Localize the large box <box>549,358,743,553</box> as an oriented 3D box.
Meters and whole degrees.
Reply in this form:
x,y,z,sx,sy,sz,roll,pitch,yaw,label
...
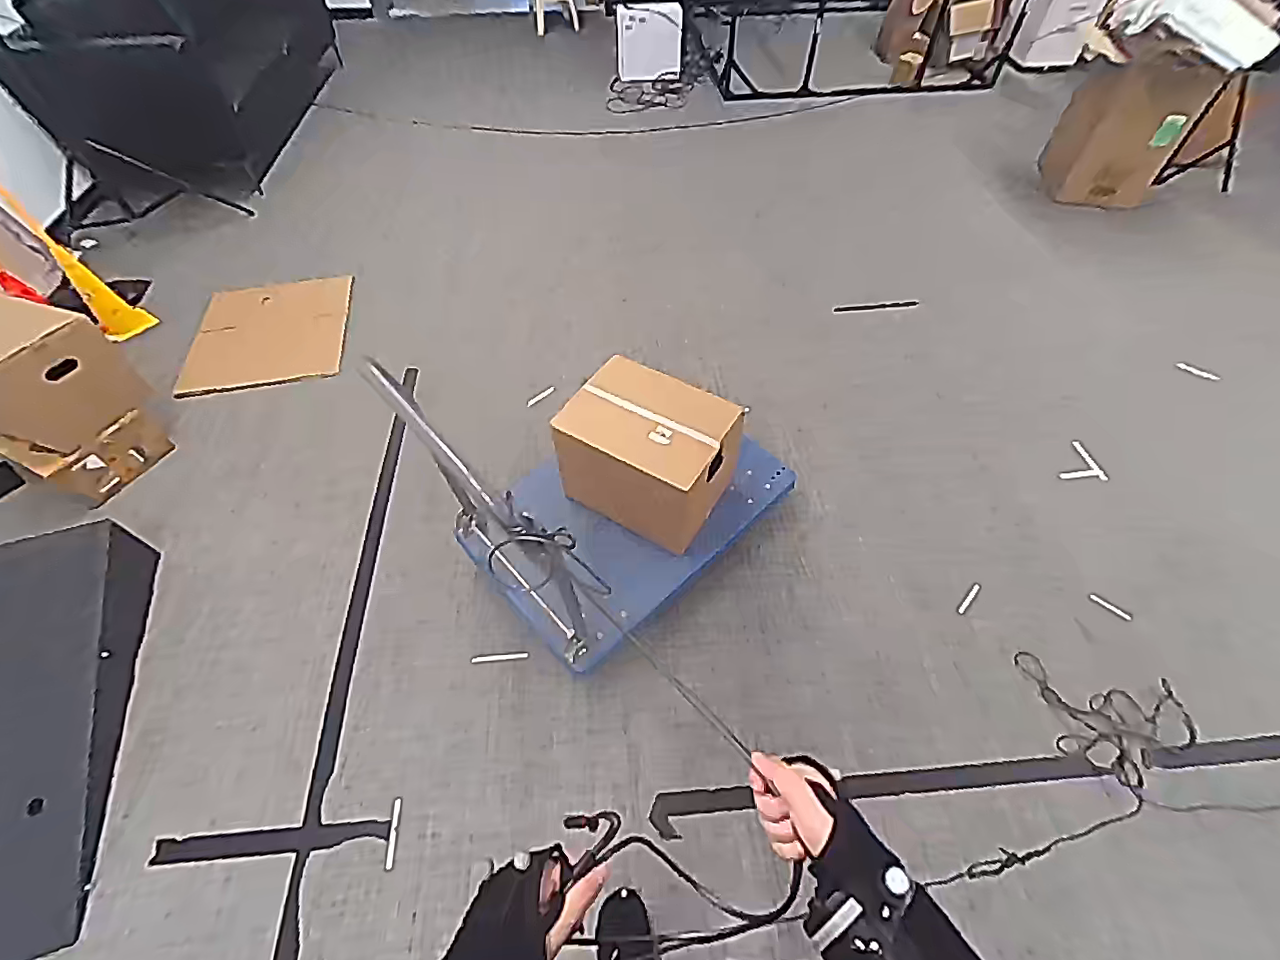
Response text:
x,y,z,sx,sy,sz,roll,pitch,yaw,label
0.015,-0.068,1.479,0.408,0.320,0.320,27,59,18,large box
